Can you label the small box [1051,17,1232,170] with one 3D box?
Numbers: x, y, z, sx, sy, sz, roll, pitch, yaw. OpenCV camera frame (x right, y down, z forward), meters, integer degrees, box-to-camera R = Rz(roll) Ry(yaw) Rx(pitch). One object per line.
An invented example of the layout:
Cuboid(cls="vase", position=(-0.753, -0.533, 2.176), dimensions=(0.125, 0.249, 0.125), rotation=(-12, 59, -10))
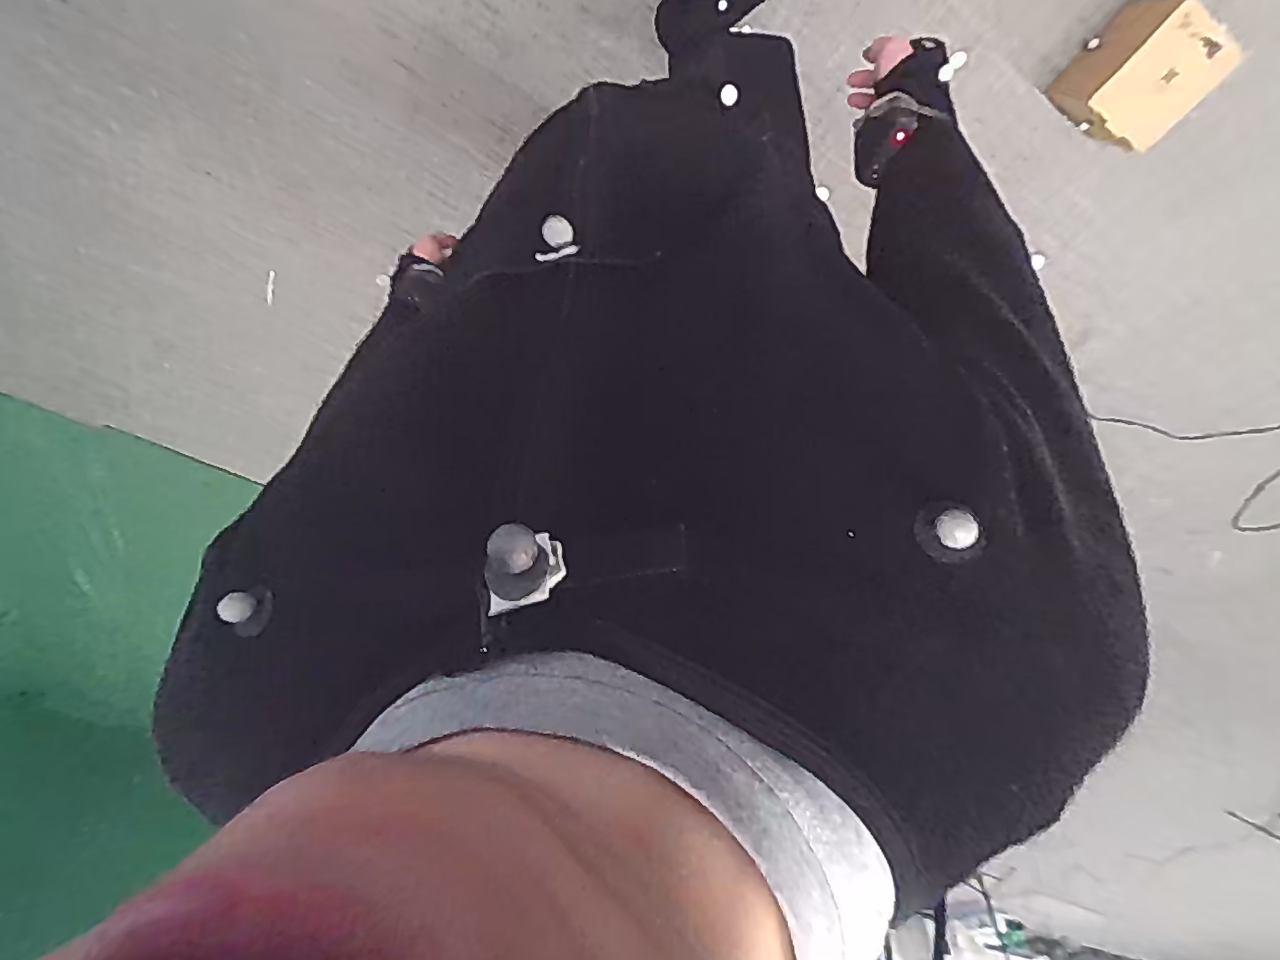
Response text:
Cuboid(cls="small box", position=(0.945, -0.744, 1.045), dimensions=(0.168, 0.176, 0.179), rotation=(27, 128, -16))
